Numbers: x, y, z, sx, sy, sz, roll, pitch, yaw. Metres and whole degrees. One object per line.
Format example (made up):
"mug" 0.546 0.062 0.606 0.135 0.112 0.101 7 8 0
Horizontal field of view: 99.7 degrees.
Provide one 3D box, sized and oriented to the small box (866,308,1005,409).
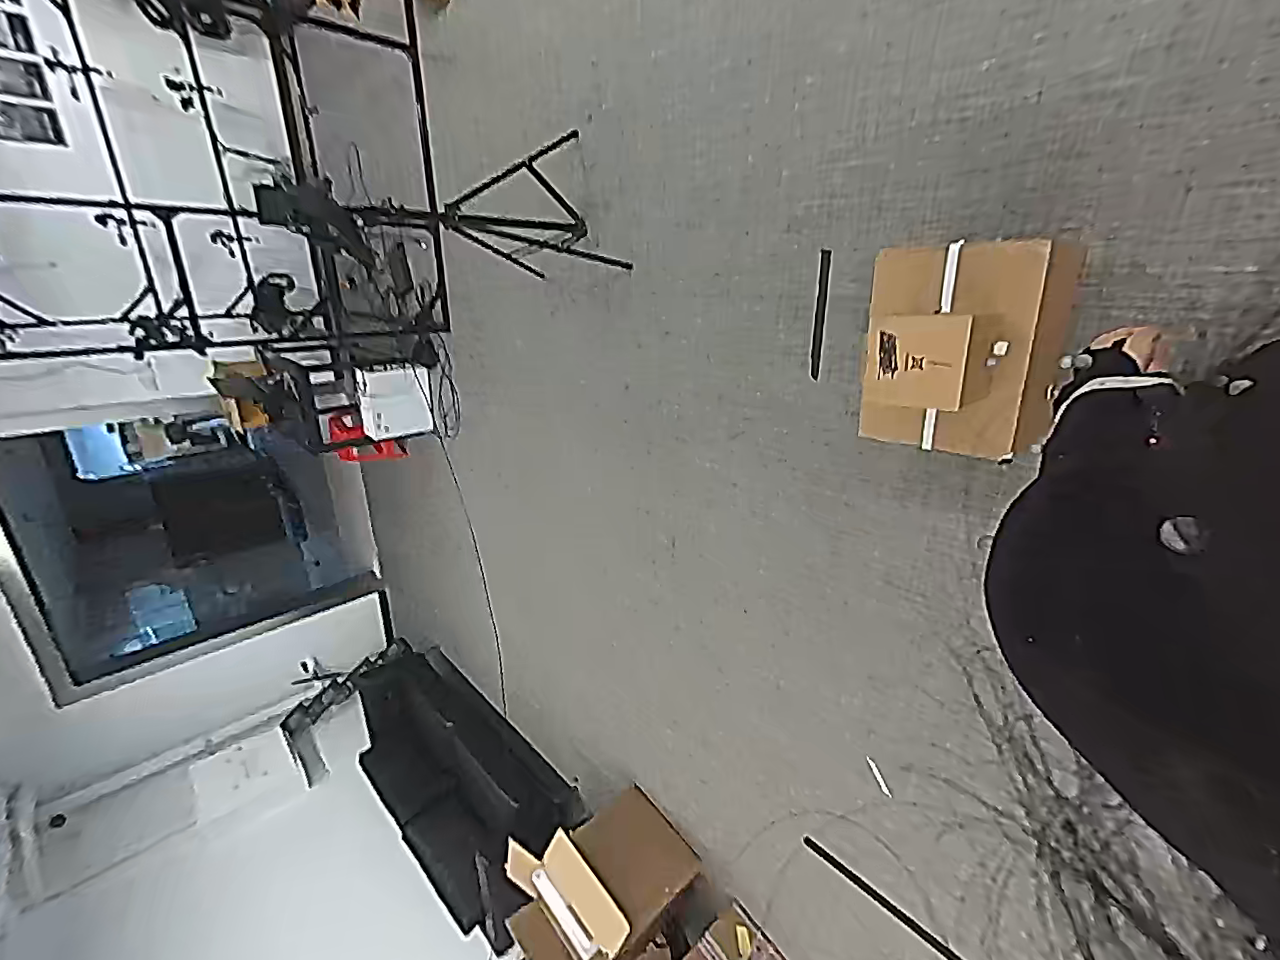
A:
"small box" 0.560 -0.238 1.029 0.179 0.176 0.168 16 116 43
